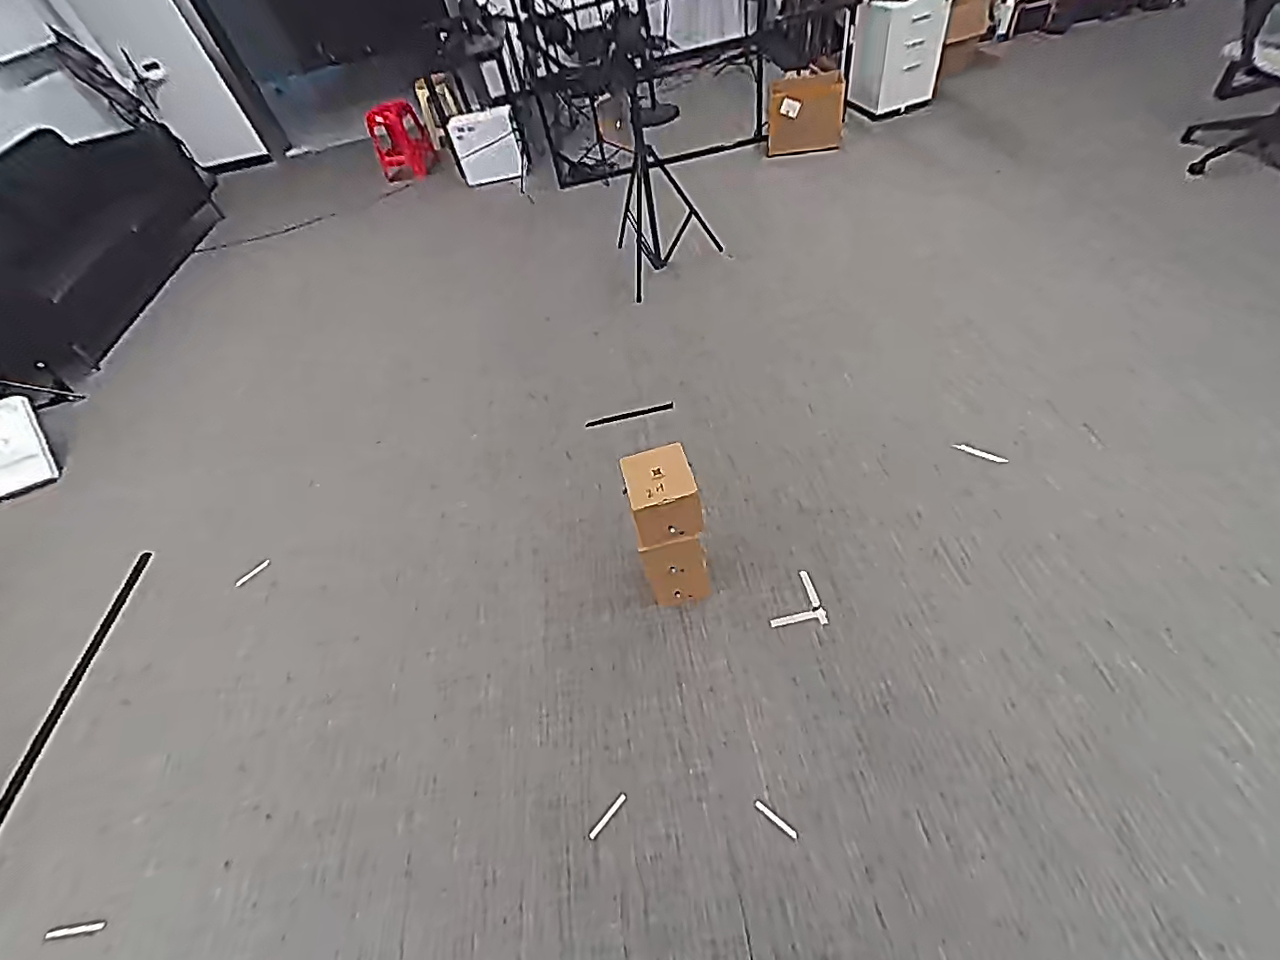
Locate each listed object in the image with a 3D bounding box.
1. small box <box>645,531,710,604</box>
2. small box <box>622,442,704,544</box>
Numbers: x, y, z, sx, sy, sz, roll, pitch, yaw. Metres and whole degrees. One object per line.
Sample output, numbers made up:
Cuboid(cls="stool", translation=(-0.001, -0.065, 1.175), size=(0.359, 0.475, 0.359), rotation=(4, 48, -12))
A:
Cuboid(cls="small box", translation=(0.111, 0.250, 1.636), size=(0.168, 0.176, 0.179), rotation=(-13, 49, 1))
Cuboid(cls="small box", translation=(0.060, 0.035, 1.390), size=(0.168, 0.176, 0.179), rotation=(-16, 50, -1))
